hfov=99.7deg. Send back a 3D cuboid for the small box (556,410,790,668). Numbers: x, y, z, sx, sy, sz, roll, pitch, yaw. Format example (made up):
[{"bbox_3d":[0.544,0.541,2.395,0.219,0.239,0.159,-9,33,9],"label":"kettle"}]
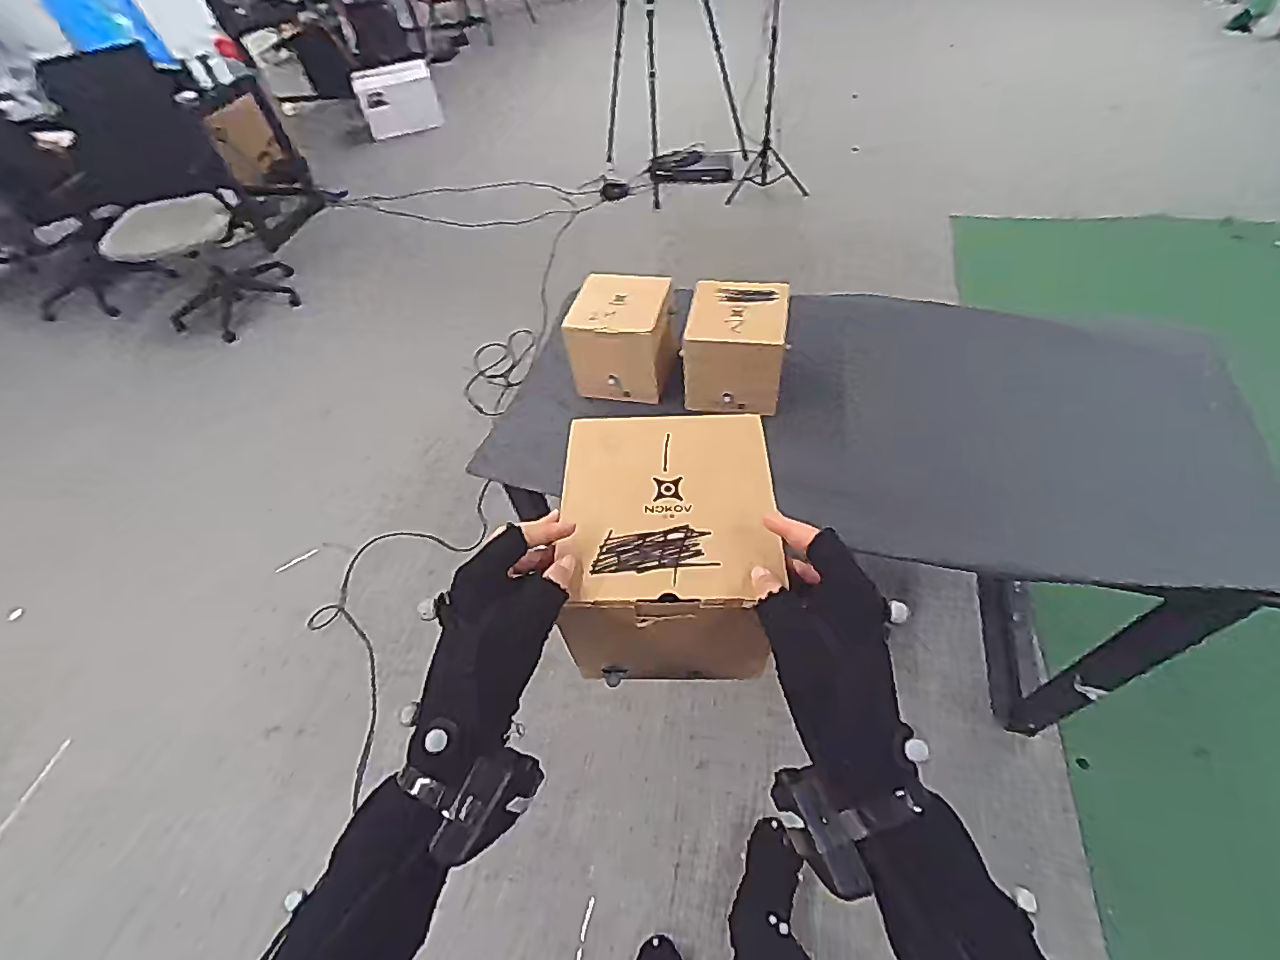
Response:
[{"bbox_3d":[0.031,0.058,0.484,0.168,0.176,0.179,-1,52,4],"label":"small box"}]

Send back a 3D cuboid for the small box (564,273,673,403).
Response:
[{"bbox_3d":[-0.032,-0.277,1.050,0.168,0.176,0.179,8,53,13],"label":"small box"}]
